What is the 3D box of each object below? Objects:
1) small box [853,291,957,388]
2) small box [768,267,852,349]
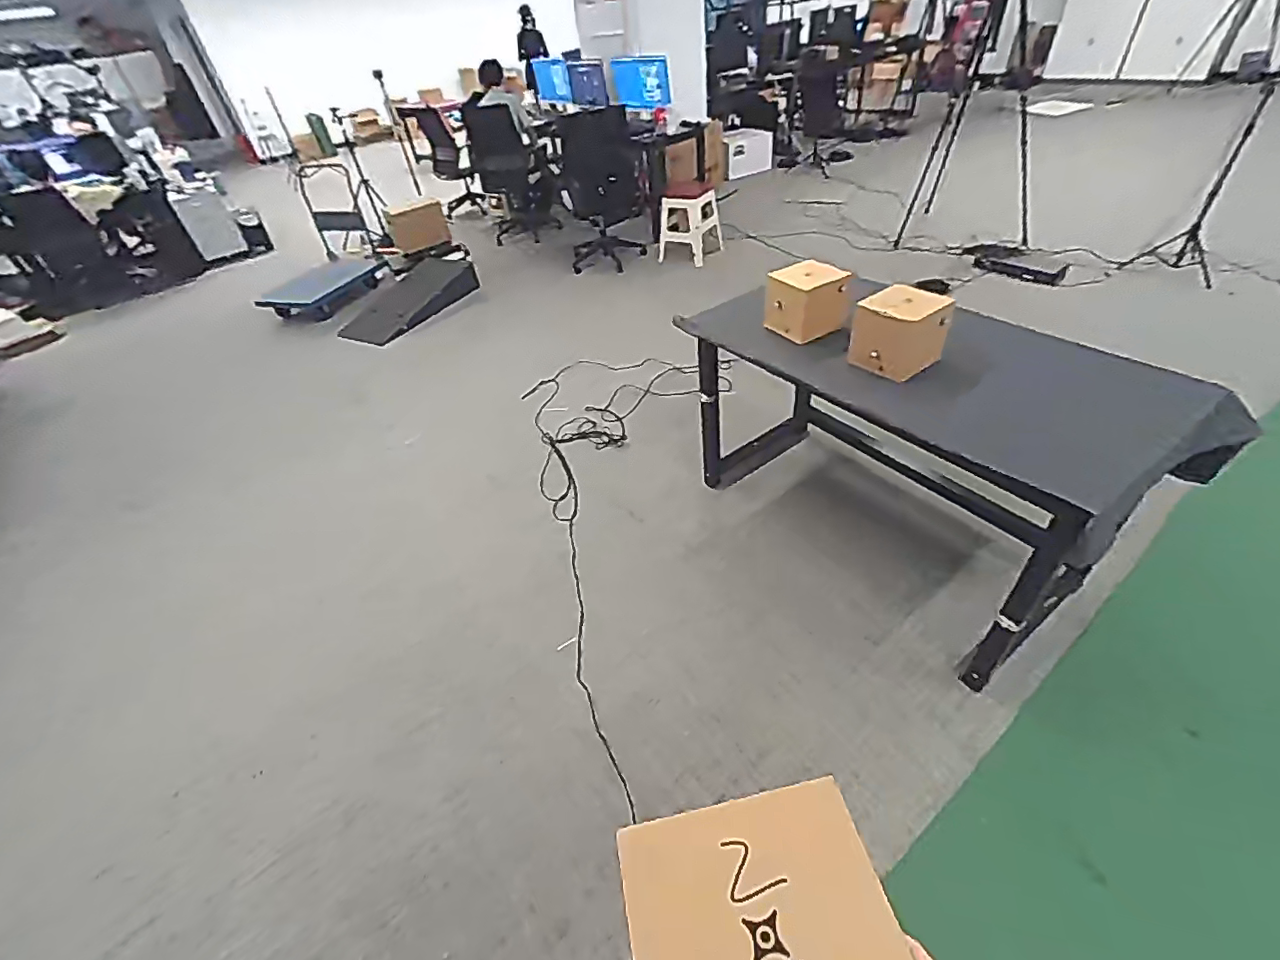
[{"bbox_3d":[0.683,-0.368,1.415,0.179,0.176,0.168,-29,44,-23],"label":"small box"},{"bbox_3d":[0.499,-0.509,1.609,0.179,0.176,0.168,-24,43,-20],"label":"small box"}]
